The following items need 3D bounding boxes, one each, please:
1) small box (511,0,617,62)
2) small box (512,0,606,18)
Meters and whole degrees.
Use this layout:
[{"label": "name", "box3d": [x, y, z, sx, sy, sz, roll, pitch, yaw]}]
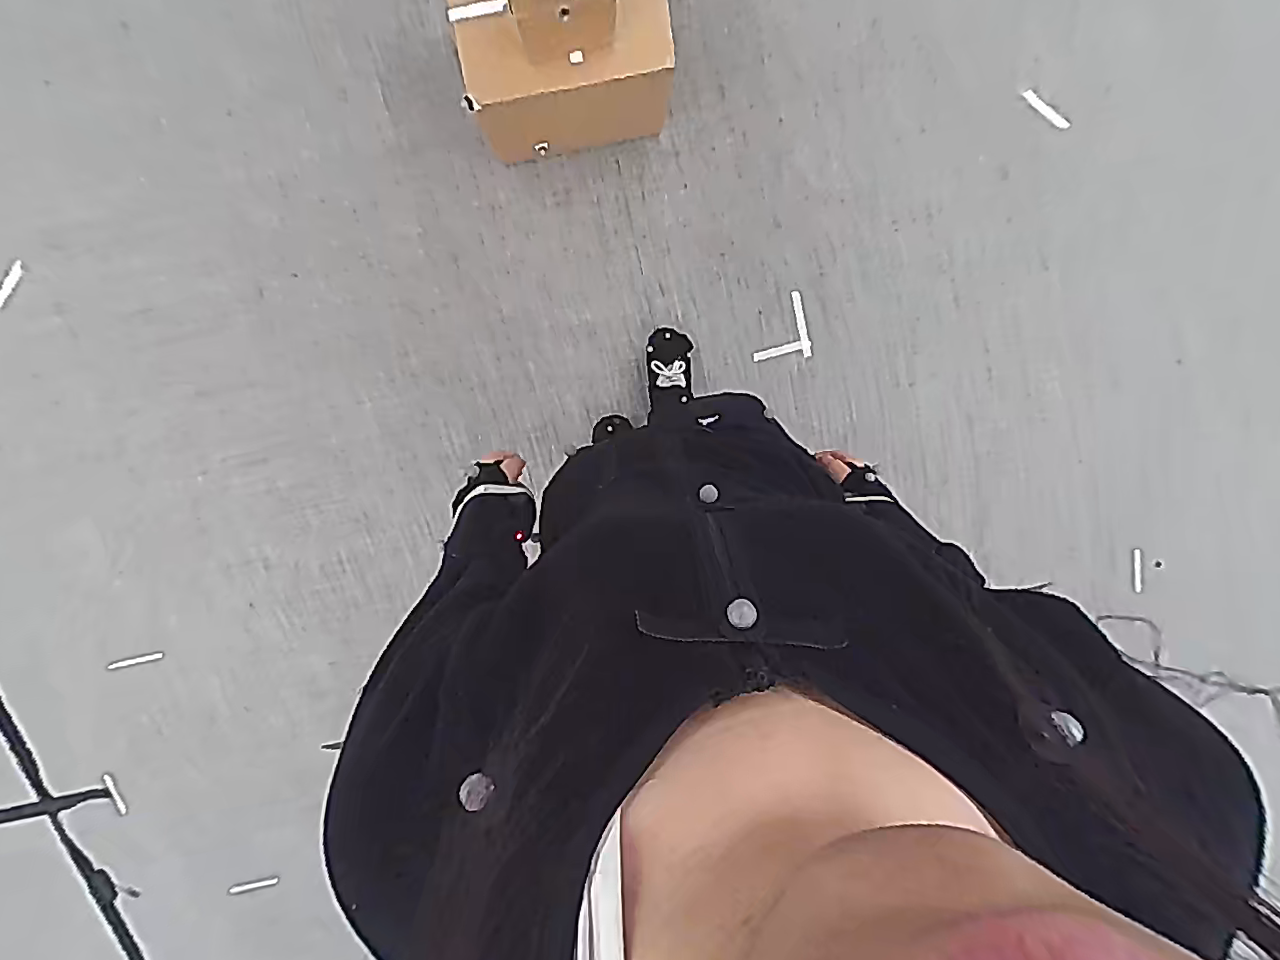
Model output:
[{"label": "small box", "box3d": [-0.139, -0.861, 0.926, 0.179, 0.176, 0.168, -14, 103, -1]}, {"label": "small box", "box3d": [-0.133, -0.820, 0.769, 0.168, 0.176, 0.179, -13, 103, 0]}]
